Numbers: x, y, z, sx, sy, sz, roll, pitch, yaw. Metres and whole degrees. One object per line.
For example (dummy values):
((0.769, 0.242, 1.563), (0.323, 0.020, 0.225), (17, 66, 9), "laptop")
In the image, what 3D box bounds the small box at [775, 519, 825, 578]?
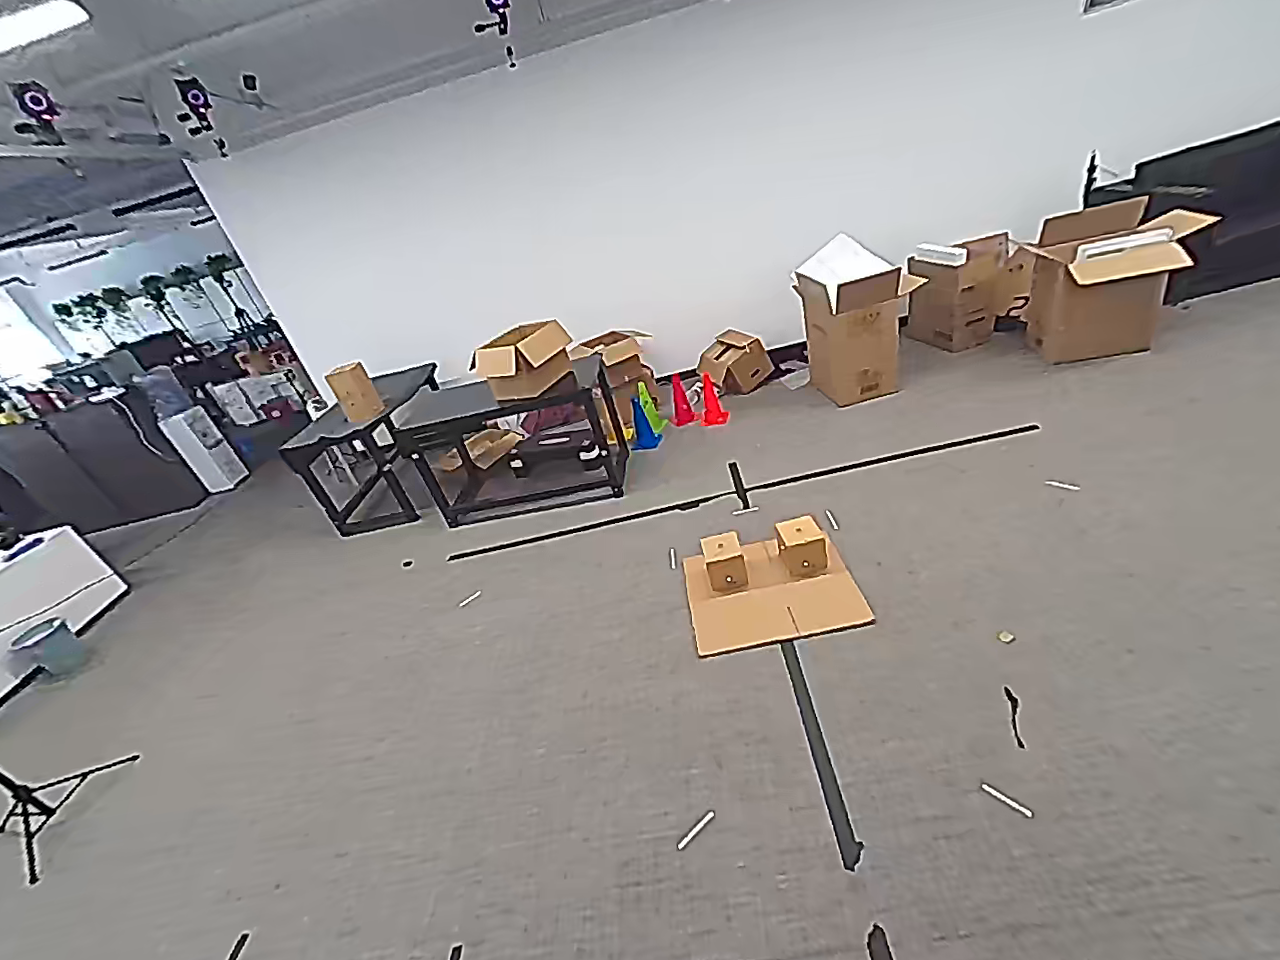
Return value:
((0.711, 0.305, 2.402), (0.168, 0.176, 0.179), (-15, 29, 2), "small box")

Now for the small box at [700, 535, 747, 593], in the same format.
((0.376, 0.378, 2.434), (0.168, 0.176, 0.179), (-14, 30, 5), "small box")
